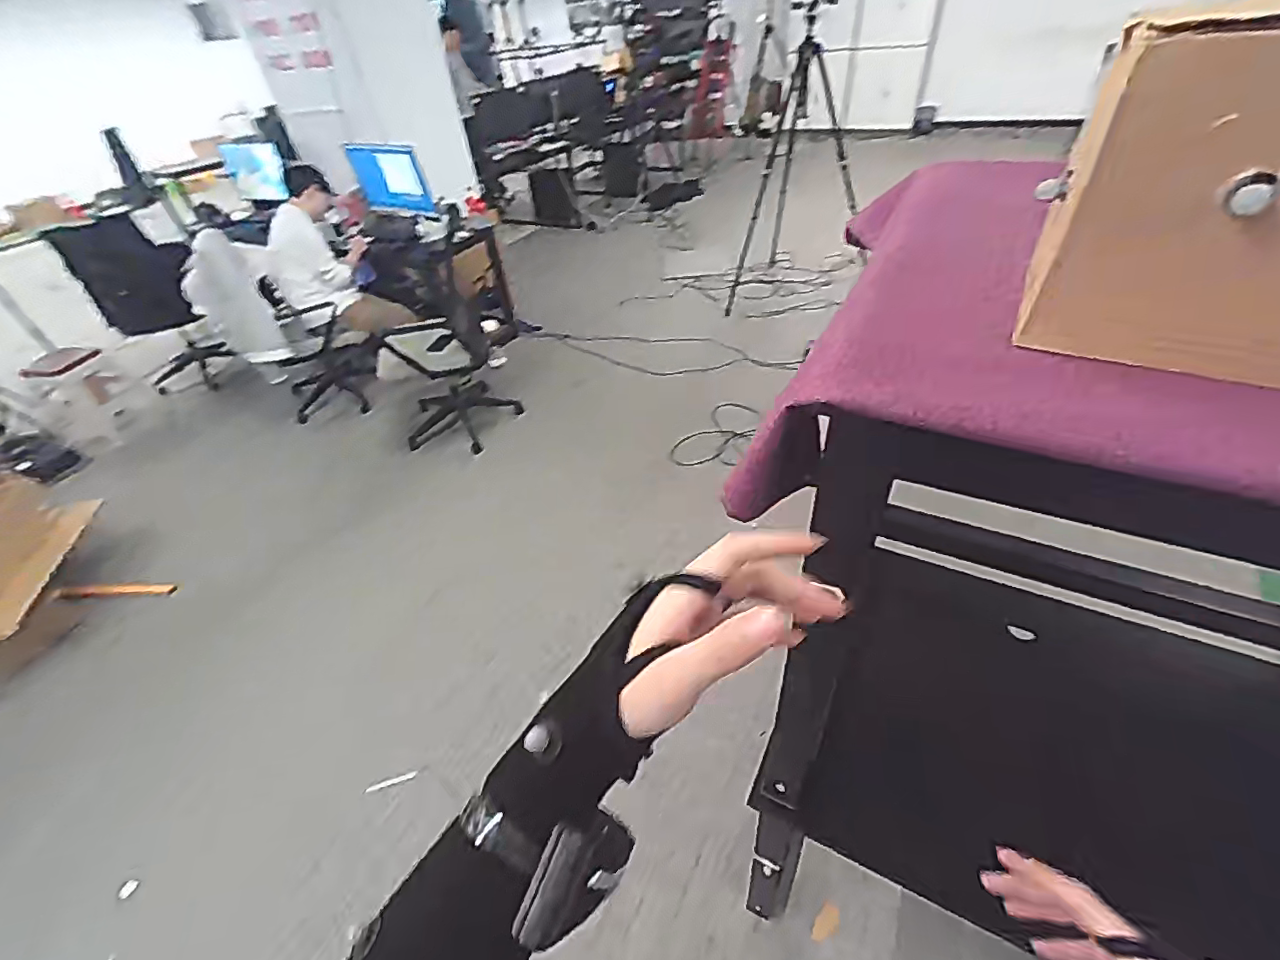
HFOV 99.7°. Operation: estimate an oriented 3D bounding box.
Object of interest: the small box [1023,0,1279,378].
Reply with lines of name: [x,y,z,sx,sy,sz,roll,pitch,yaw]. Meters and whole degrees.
small box: [0.360,-0.178,0.324,0.179,0.176,0.168,19,47,26]
